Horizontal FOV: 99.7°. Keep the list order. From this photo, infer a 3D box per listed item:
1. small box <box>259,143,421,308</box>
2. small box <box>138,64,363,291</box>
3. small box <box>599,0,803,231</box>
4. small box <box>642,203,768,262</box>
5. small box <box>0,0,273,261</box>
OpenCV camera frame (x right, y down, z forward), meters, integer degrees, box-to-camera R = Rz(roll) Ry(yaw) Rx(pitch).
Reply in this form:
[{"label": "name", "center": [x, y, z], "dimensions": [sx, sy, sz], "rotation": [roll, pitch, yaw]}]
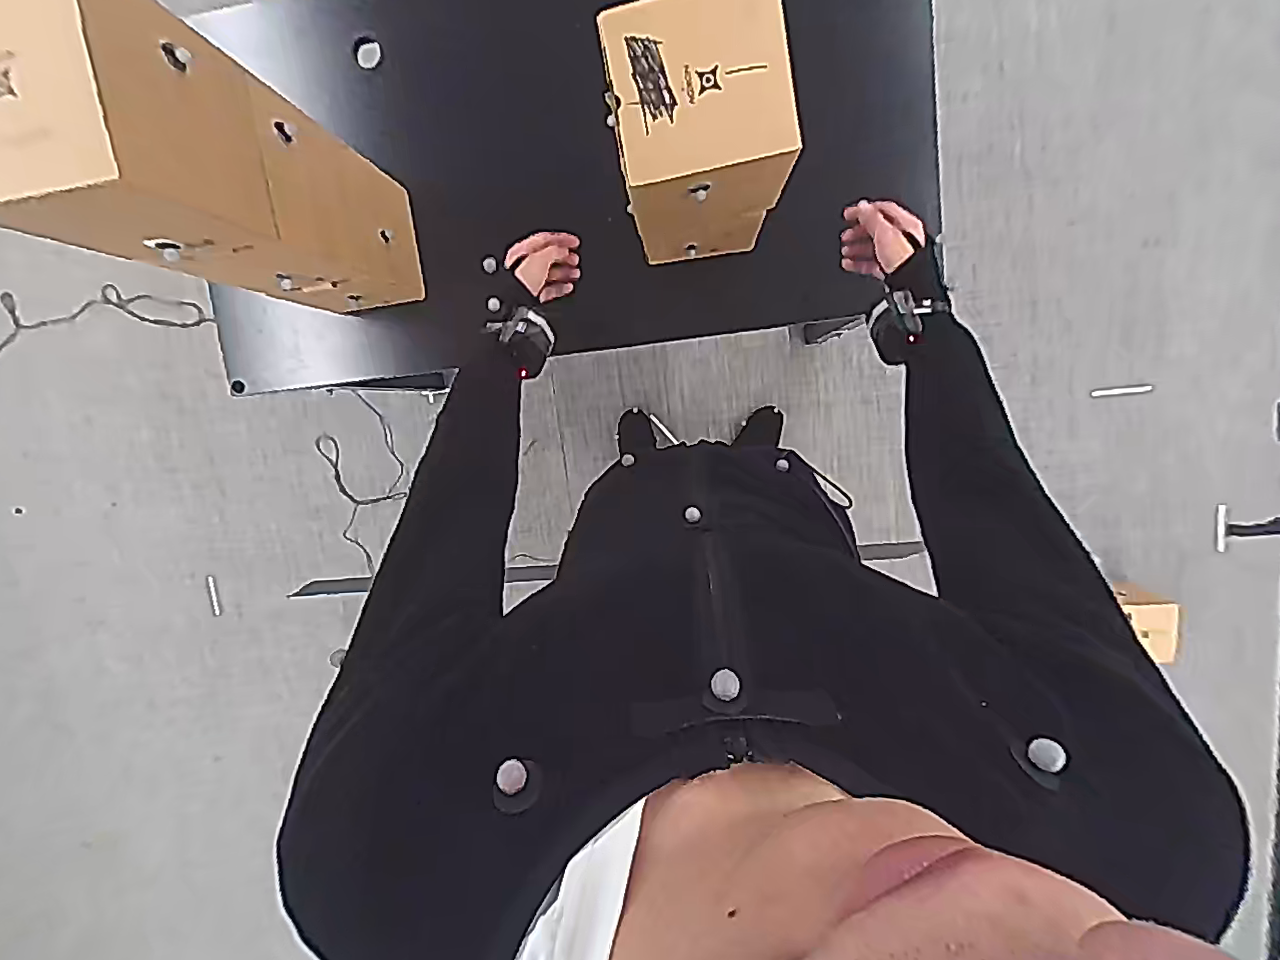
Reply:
[{"label": "small box", "center": [-0.453, -0.363, 0.809], "dimensions": [0.168, 0.176, 0.179], "rotation": [-8, 98, 5]}, {"label": "small box", "center": [-0.466, -0.341, 0.646], "dimensions": [0.168, 0.176, 0.179], "rotation": [-7, 98, 6]}, {"label": "small box", "center": [0.065, -0.395, 0.596], "dimensions": [0.179, 0.176, 0.168], "rotation": [-10, 98, 5]}, {"label": "small box", "center": [0.078, -0.425, 0.757], "dimensions": [0.168, 0.176, 0.179], "rotation": [-6, 98, 6]}, {"label": "small box", "center": [-0.478, -0.318, 0.485], "dimensions": [0.168, 0.176, 0.179], "rotation": [-7, 98, 7]}]
